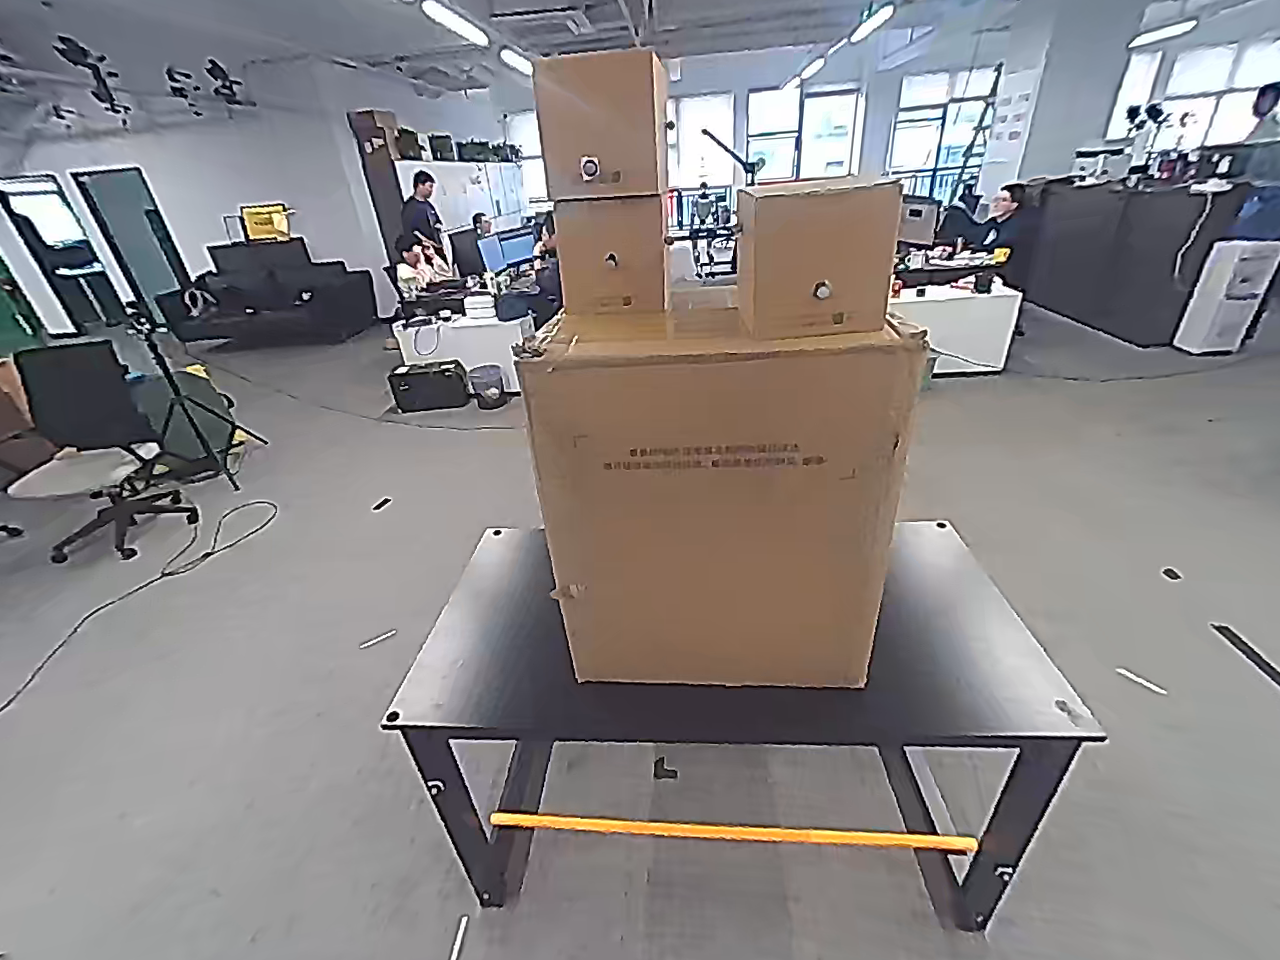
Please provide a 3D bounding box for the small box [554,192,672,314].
[{"bbox_3d":[-0.034,-0.375,0.895,0.168,0.176,0.179,0,30,6],"label":"small box"}]

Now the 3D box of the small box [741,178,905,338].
[{"bbox_3d":[0.225,-0.296,0.718,0.168,0.176,0.179,-4,31,5],"label":"small box"}]

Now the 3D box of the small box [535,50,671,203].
[{"bbox_3d":[-0.042,-0.510,0.800,0.168,0.176,0.179,0,30,8],"label":"small box"}]
